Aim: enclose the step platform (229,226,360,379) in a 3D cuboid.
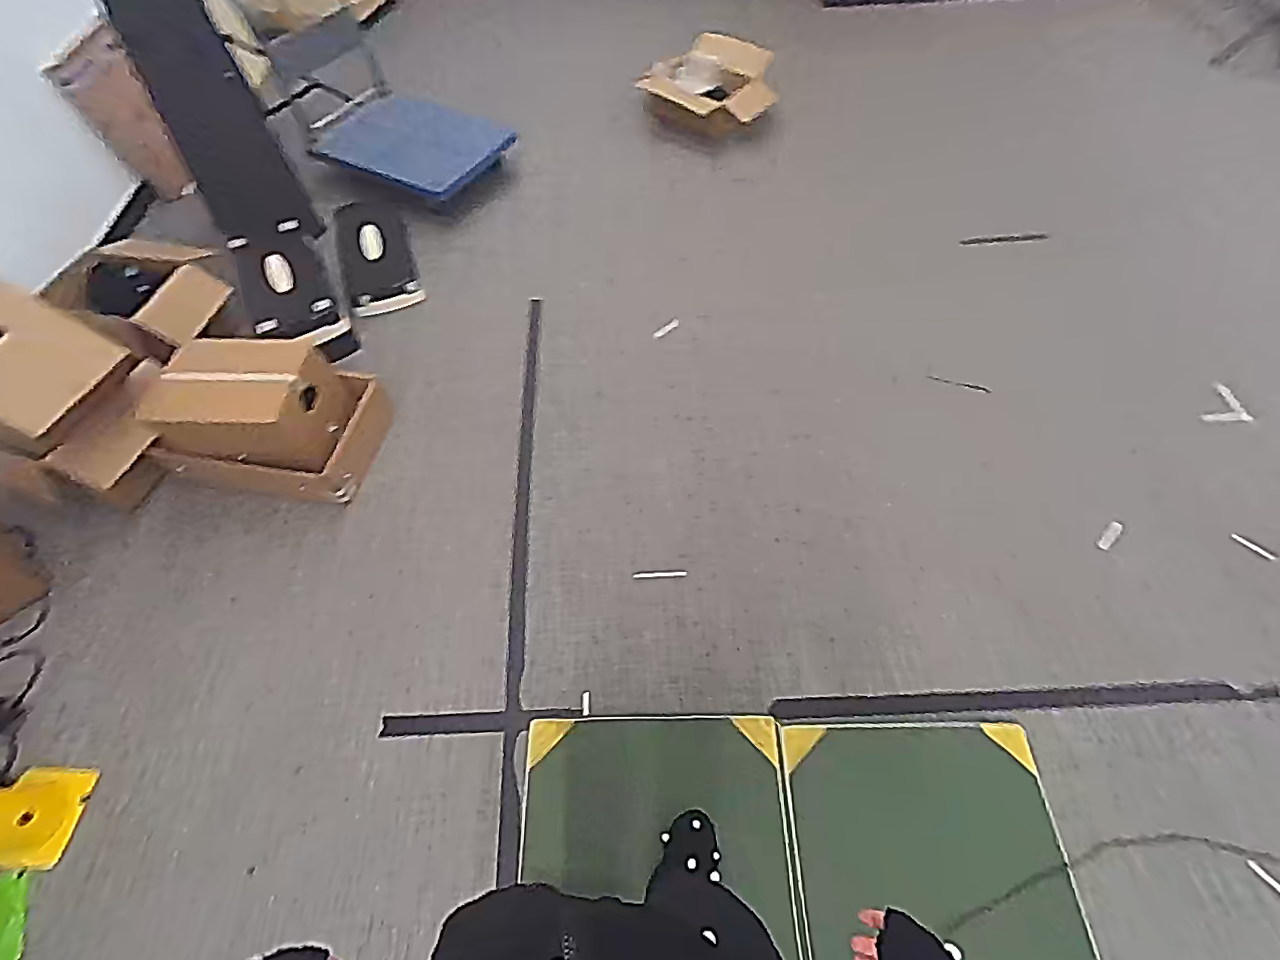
[{"bbox_3d":[-1.363,-0.715,2.123,0.286,0.204,0.684,-29,63,-15],"label":"step platform"}]
